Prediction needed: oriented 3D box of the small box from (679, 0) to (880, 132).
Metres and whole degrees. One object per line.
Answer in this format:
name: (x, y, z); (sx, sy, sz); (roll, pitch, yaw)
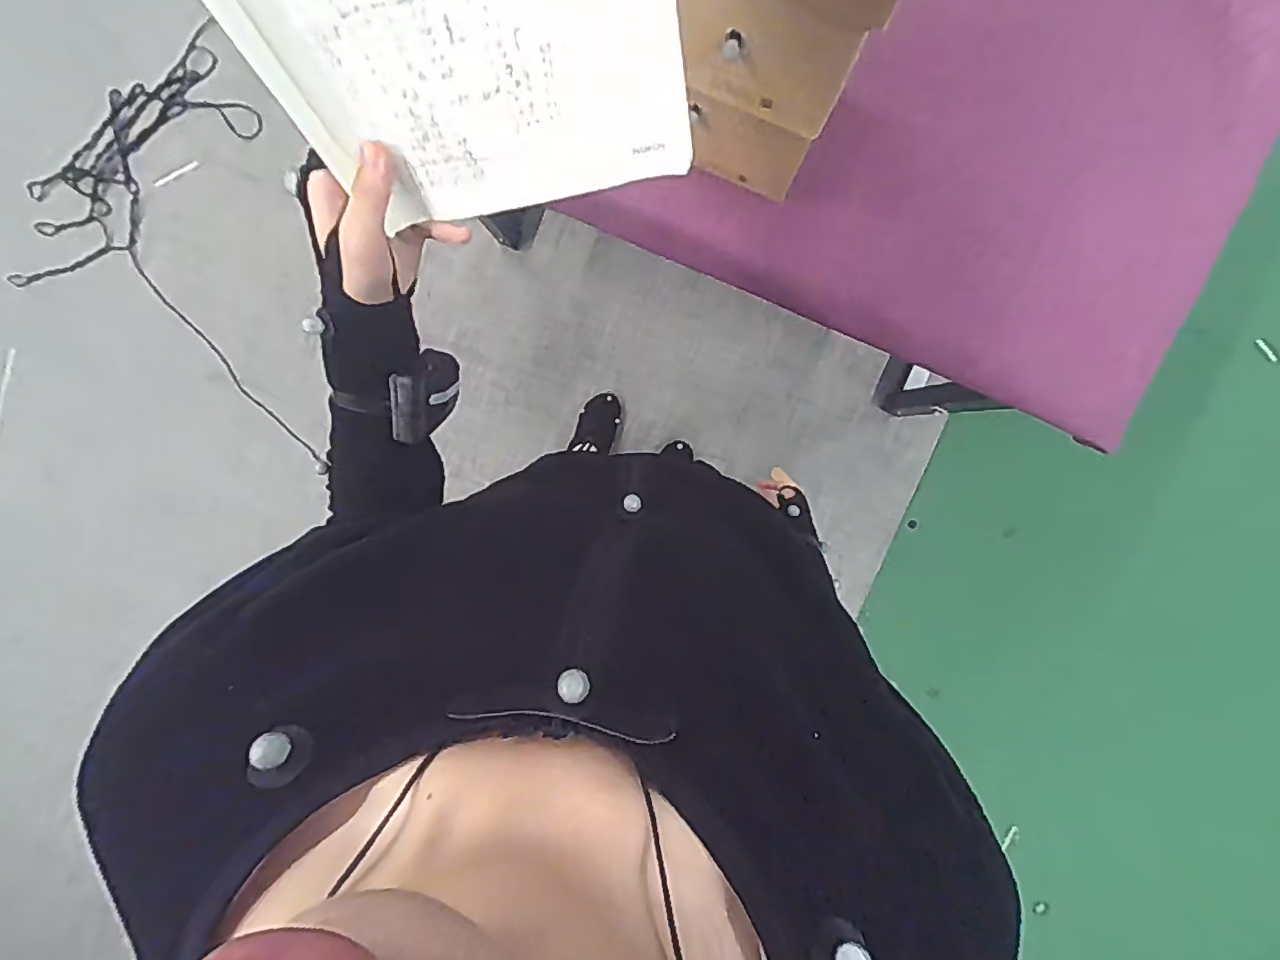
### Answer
small box: (0.141, -0.465, 0.489); (0.168, 0.176, 0.179); (24, 94, 0)
